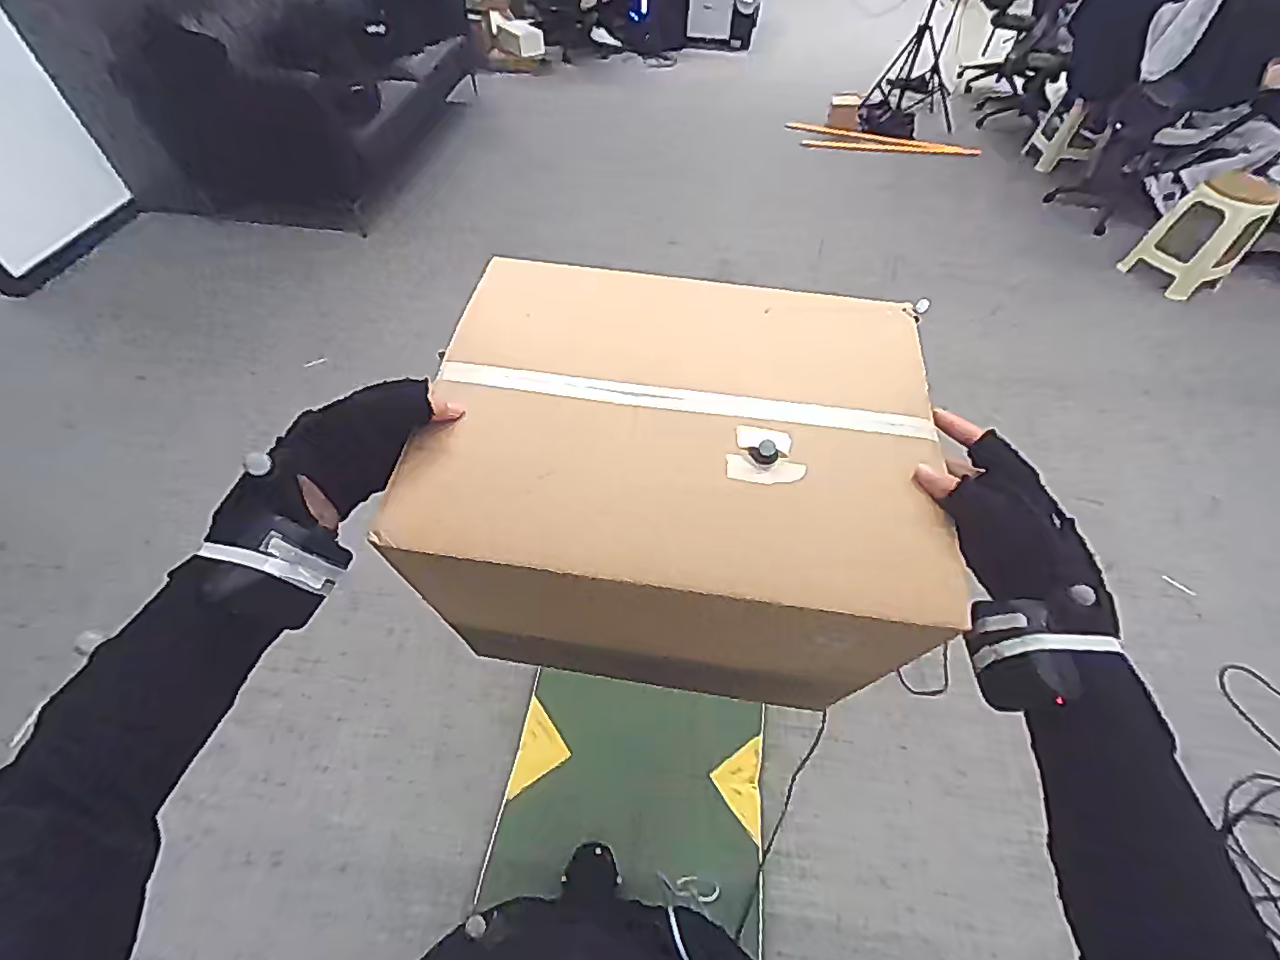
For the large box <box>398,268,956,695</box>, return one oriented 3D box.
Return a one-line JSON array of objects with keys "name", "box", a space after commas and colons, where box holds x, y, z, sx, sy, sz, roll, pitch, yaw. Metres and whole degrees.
[{"name": "large box", "box": [0.034, 0.017, 0.580, 0.408, 0.320, 0.320, 8, 59, 2]}]
